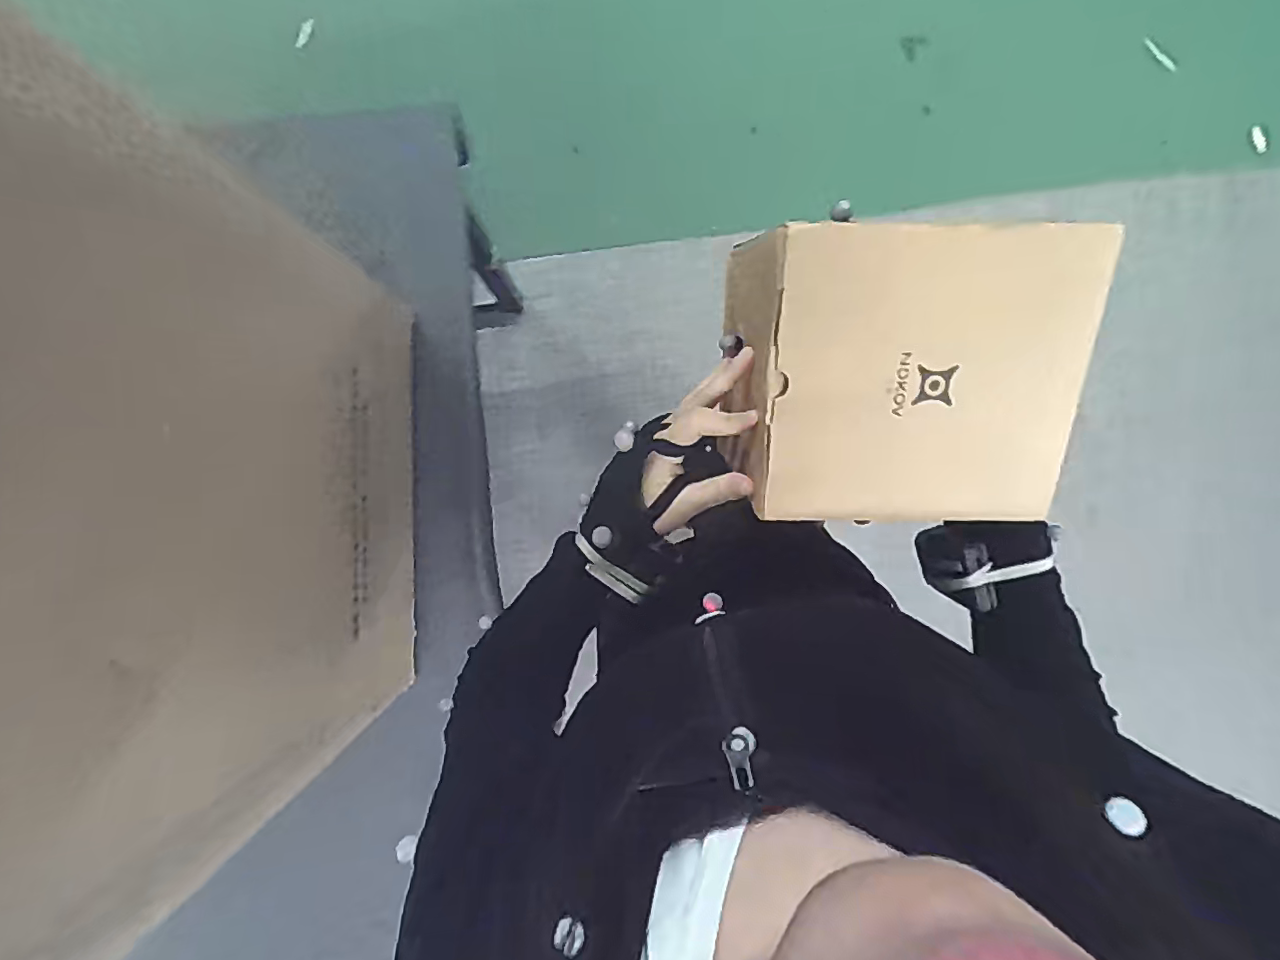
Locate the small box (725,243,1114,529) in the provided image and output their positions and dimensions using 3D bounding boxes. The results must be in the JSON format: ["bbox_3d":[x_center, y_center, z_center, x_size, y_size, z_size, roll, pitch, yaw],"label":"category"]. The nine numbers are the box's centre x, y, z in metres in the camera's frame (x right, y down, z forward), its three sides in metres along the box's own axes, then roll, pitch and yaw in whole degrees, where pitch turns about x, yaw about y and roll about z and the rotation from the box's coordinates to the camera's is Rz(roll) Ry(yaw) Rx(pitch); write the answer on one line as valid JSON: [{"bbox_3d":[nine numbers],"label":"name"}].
[{"bbox_3d":[0.164,-0.073,0.386,0.179,0.176,0.168,0,108,1],"label":"small box"}]
